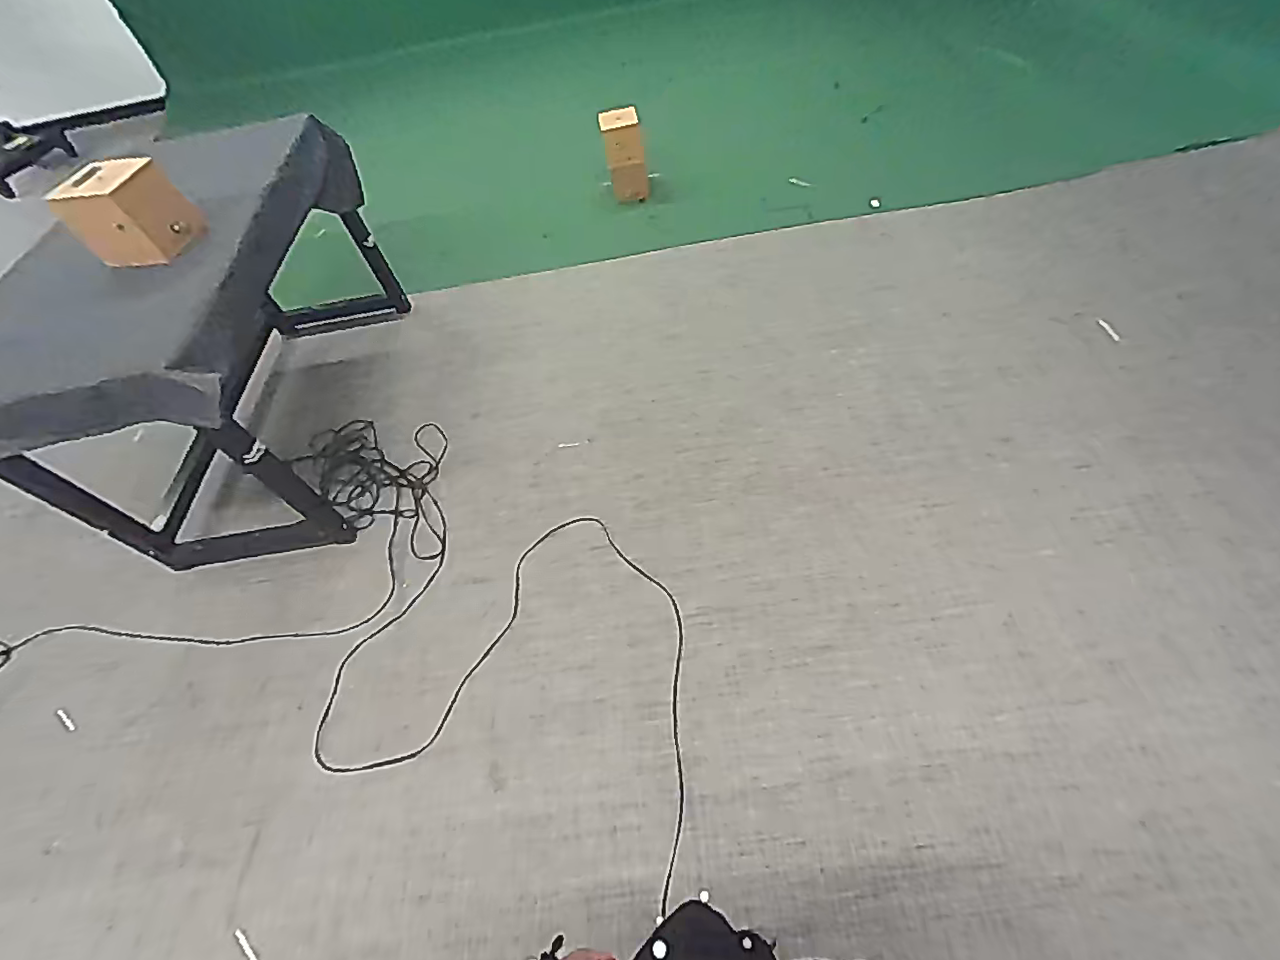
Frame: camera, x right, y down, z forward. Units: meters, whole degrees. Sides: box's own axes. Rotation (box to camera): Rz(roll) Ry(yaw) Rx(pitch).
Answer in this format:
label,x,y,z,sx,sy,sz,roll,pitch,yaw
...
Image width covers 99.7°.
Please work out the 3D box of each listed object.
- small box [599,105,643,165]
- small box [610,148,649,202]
label,x,y,z,sx,sy,sz,roll,pitch,yaw
small box,-0.084,-1.540,2.426,0.168,0.176,0.179,-10,54,2
small box,-0.054,-1.453,2.561,0.168,0.176,0.179,-10,55,3
